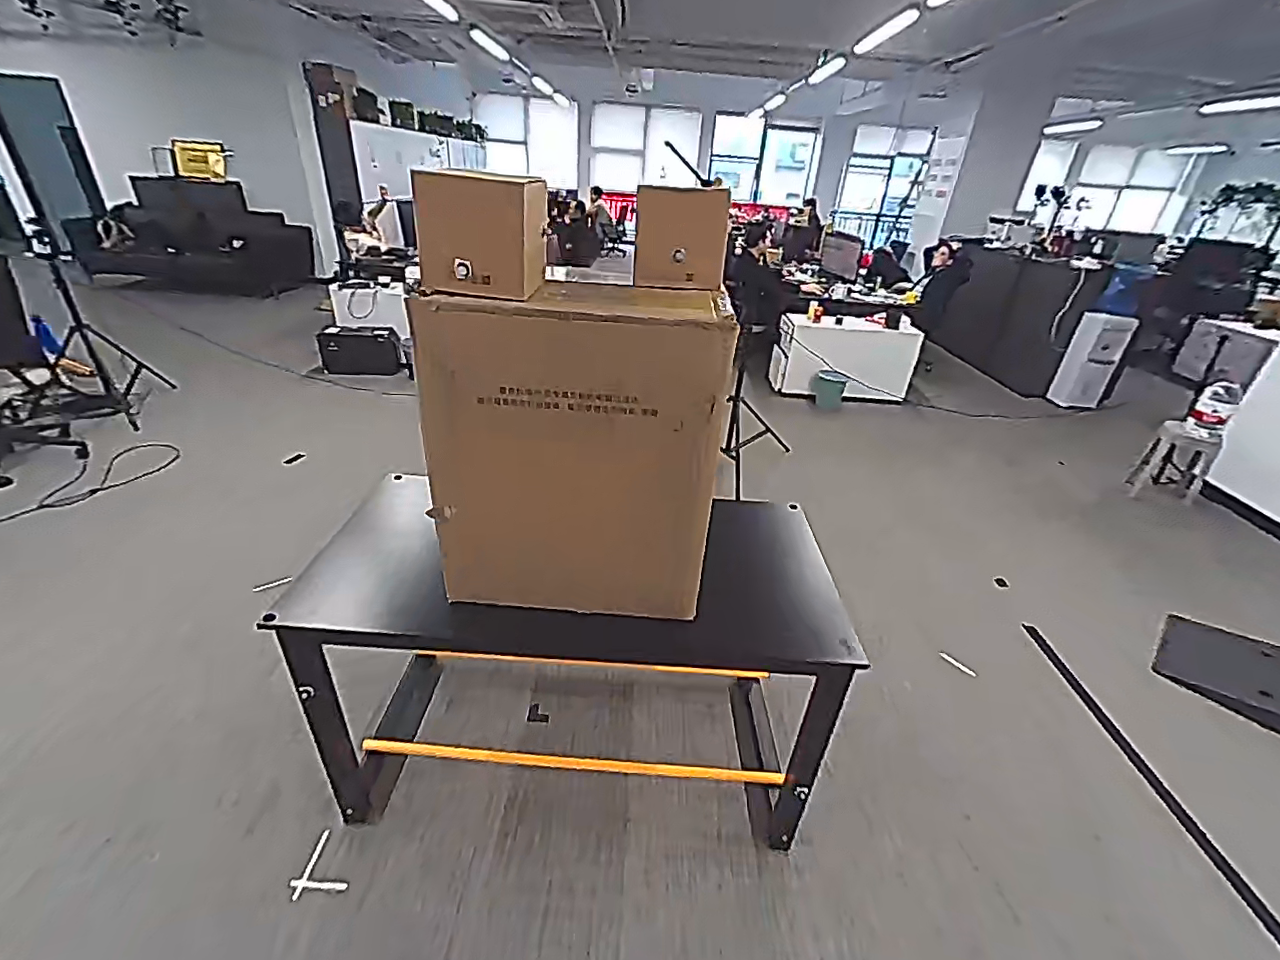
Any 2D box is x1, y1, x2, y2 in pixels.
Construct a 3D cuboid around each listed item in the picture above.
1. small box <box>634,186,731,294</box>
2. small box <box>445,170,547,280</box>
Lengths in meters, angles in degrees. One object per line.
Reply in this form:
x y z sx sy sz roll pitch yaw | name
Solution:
0.075 -0.462 1.040 0.168 0.176 0.179 3 28 0 | small box
-0.273 -0.498 1.056 0.168 0.176 0.179 3 28 -6 | small box
